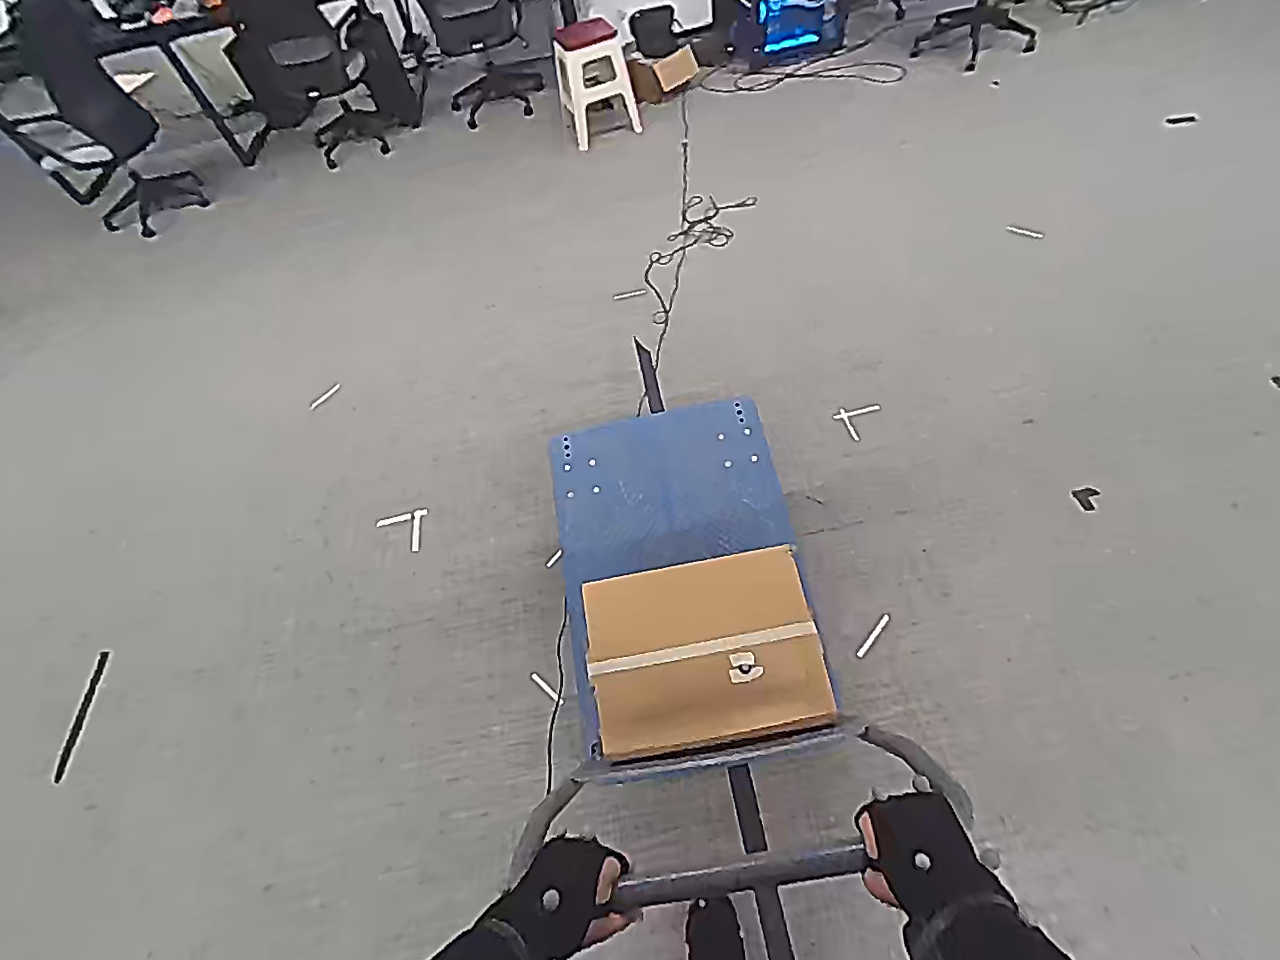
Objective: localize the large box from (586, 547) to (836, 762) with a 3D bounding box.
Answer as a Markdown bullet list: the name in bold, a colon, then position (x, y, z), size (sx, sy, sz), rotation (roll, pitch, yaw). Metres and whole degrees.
- **large box**: position (0.130, 0.364, 1.120), size (0.408, 0.320, 0.320), rotation (-12, 68, 1)
